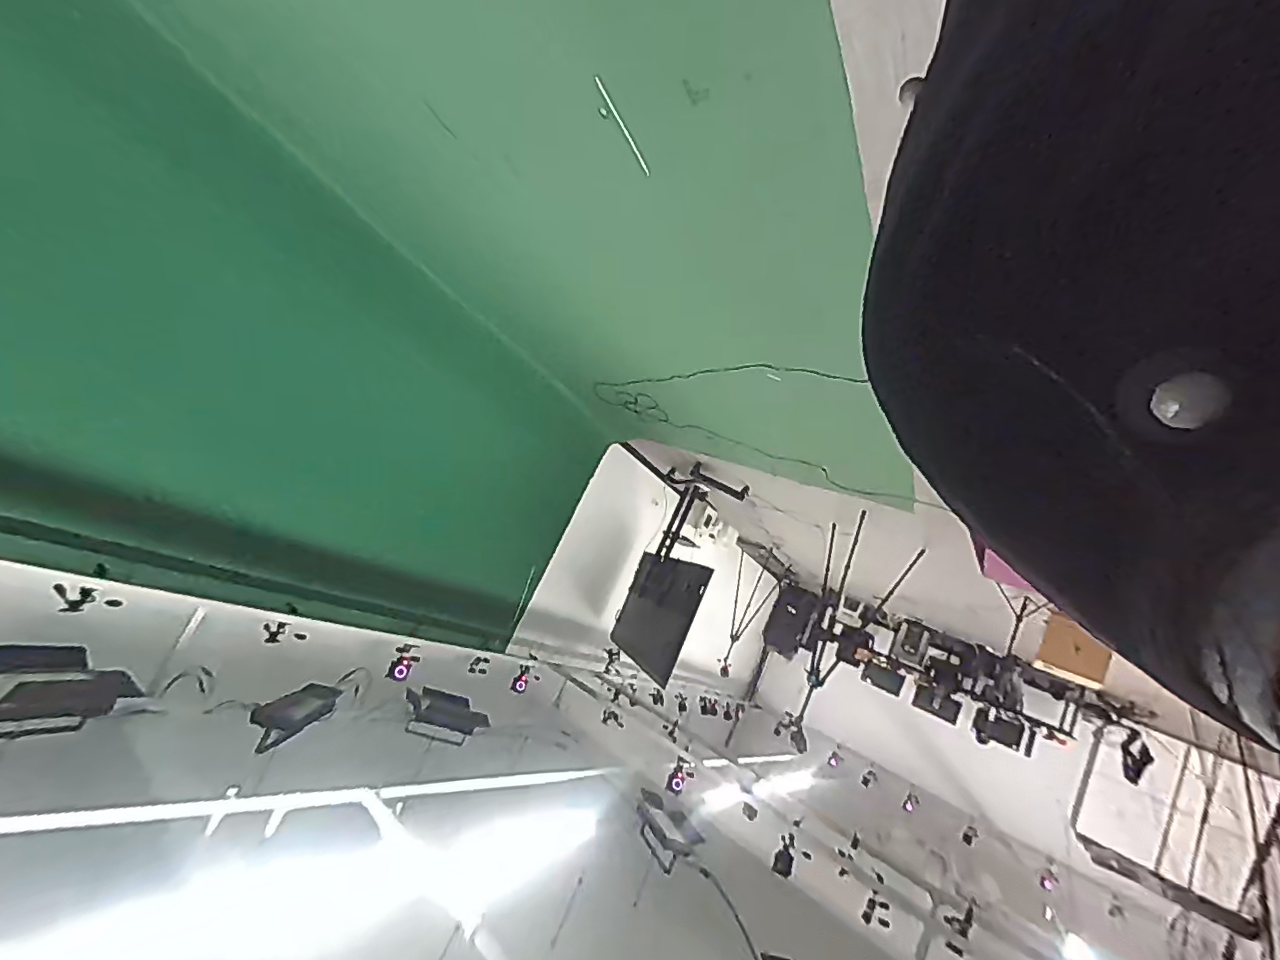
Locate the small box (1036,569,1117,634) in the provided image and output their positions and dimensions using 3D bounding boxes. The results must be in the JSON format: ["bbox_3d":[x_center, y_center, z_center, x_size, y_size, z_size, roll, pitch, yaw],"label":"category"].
[{"bbox_3d":[1.466,0.416,1.818,0.179,0.176,0.168,17,166,37],"label":"small box"}]

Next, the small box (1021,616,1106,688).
[{"bbox_3d":[1.394,0.560,1.785,0.179,0.176,0.168,18,167,36],"label":"small box"}]
